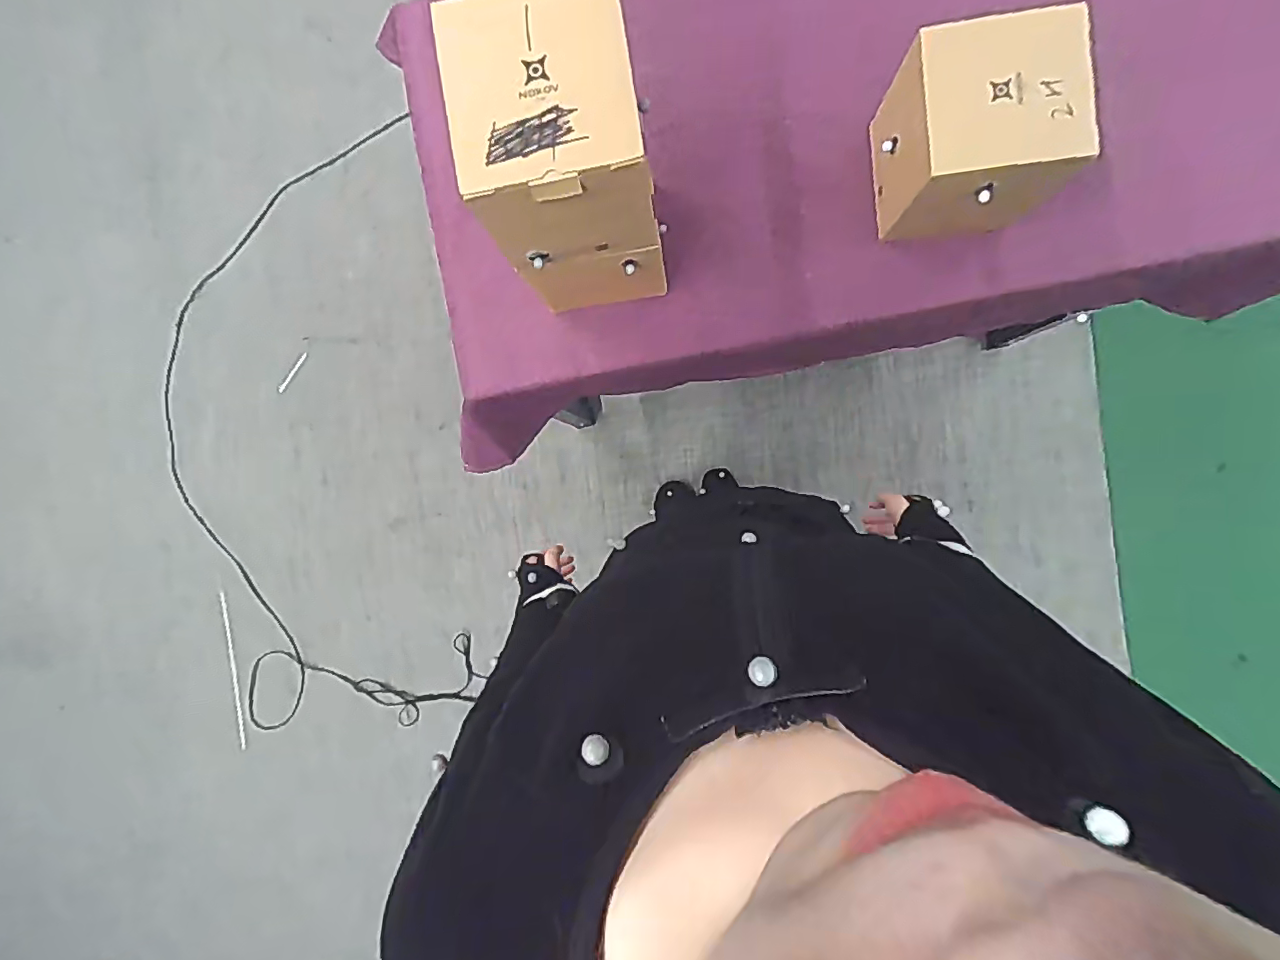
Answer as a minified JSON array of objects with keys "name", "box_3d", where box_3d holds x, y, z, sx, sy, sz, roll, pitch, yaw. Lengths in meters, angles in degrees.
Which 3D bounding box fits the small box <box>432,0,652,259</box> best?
[{"name":"small box","box_3d":[-0.084,-0.344,0.549,0.168,0.176,0.179,-9,88,5]}]

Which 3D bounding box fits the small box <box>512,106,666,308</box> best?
[{"name":"small box","box_3d":[-0.066,-0.341,0.712,0.179,0.176,0.168,-8,89,5]}]

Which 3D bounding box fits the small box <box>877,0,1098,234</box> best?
[{"name":"small box","box_3d":[0.402,-0.421,0.660,0.179,0.176,0.168,-4,91,6]}]
